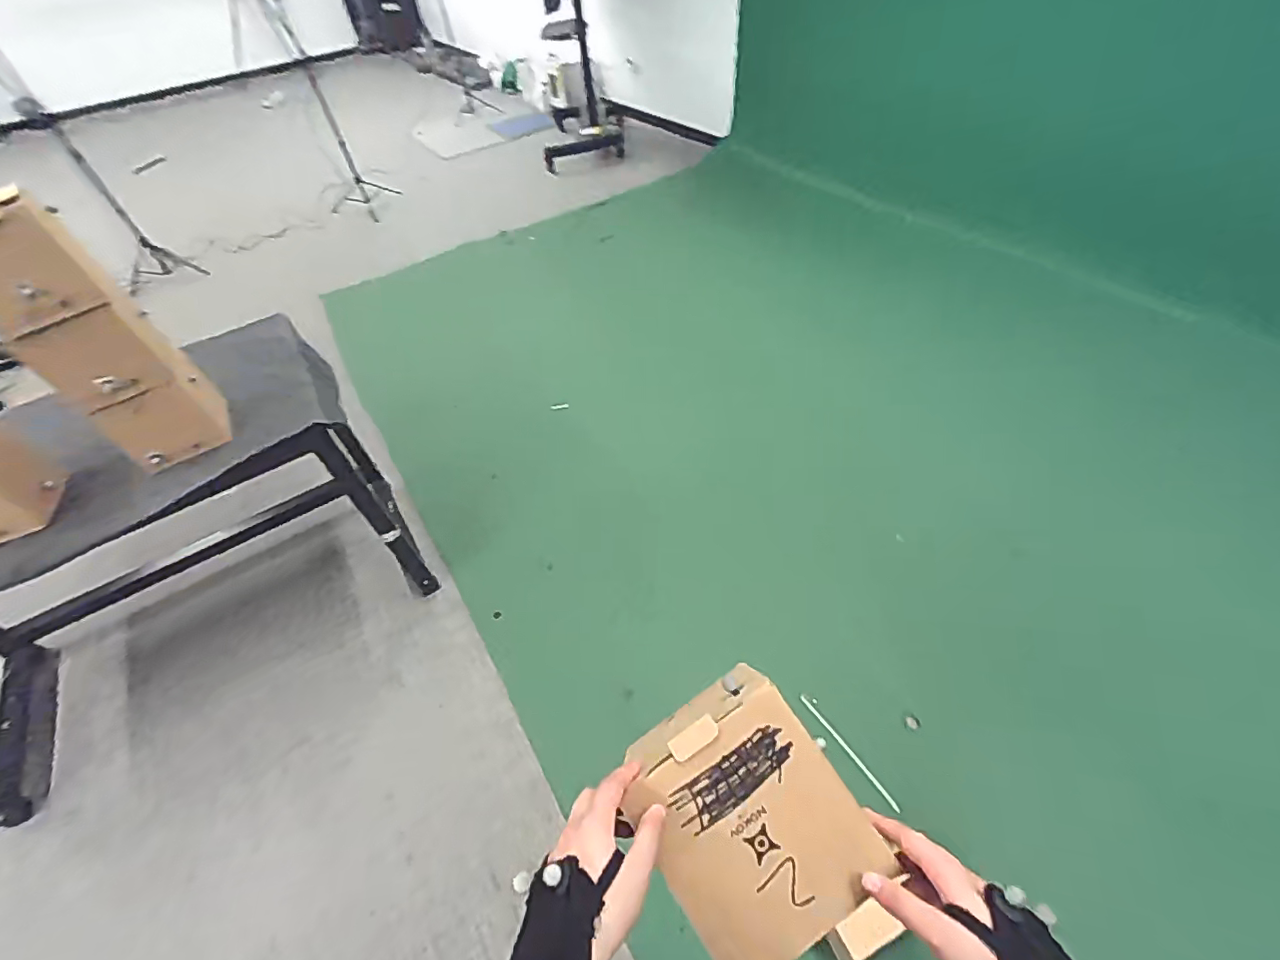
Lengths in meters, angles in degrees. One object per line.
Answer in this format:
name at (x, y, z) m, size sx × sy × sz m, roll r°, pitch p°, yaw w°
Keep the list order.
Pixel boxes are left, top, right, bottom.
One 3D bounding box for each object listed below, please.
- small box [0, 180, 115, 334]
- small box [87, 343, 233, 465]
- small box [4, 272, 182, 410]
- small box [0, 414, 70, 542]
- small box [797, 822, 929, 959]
small box at (-1.033, -0.369, 0.898) m, size 0.168 × 0.176 × 0.179 m, roll -36°, pitch 52°, yaw -20°
small box at (-1.003, -0.155, 1.145) m, size 0.168 × 0.176 × 0.179 m, roll -29°, pitch 49°, yaw -17°
small box at (-1.020, -0.262, 1.024) m, size 0.168 × 0.176 × 0.179 m, roll -33°, pitch 52°, yaw -19°
small box at (-1.266, 0.009, 1.034) m, size 0.168 × 0.176 × 0.179 m, roll -22°, pitch 48°, yaw -12°
small box at (0.434, 0.833, 1.090) m, size 0.179 × 0.176 × 0.168 m, roll -22°, pitch 50°, yaw -13°
